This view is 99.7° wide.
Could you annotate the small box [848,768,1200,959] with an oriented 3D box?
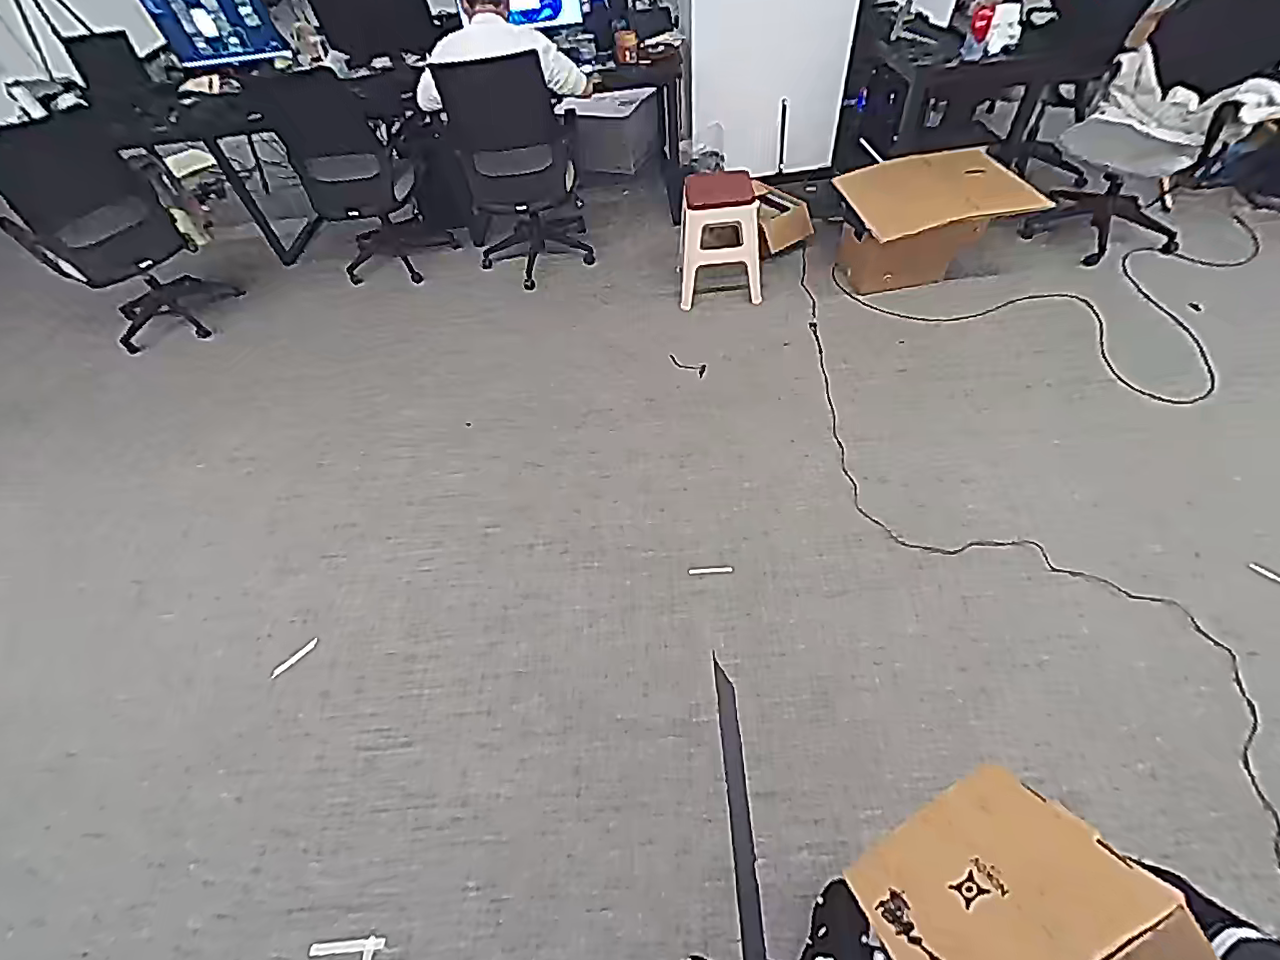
[{"bbox_3d":[0.312,0.386,0.431,0.179,0.168,0.176,-33,92,-3],"label":"small box"}]
